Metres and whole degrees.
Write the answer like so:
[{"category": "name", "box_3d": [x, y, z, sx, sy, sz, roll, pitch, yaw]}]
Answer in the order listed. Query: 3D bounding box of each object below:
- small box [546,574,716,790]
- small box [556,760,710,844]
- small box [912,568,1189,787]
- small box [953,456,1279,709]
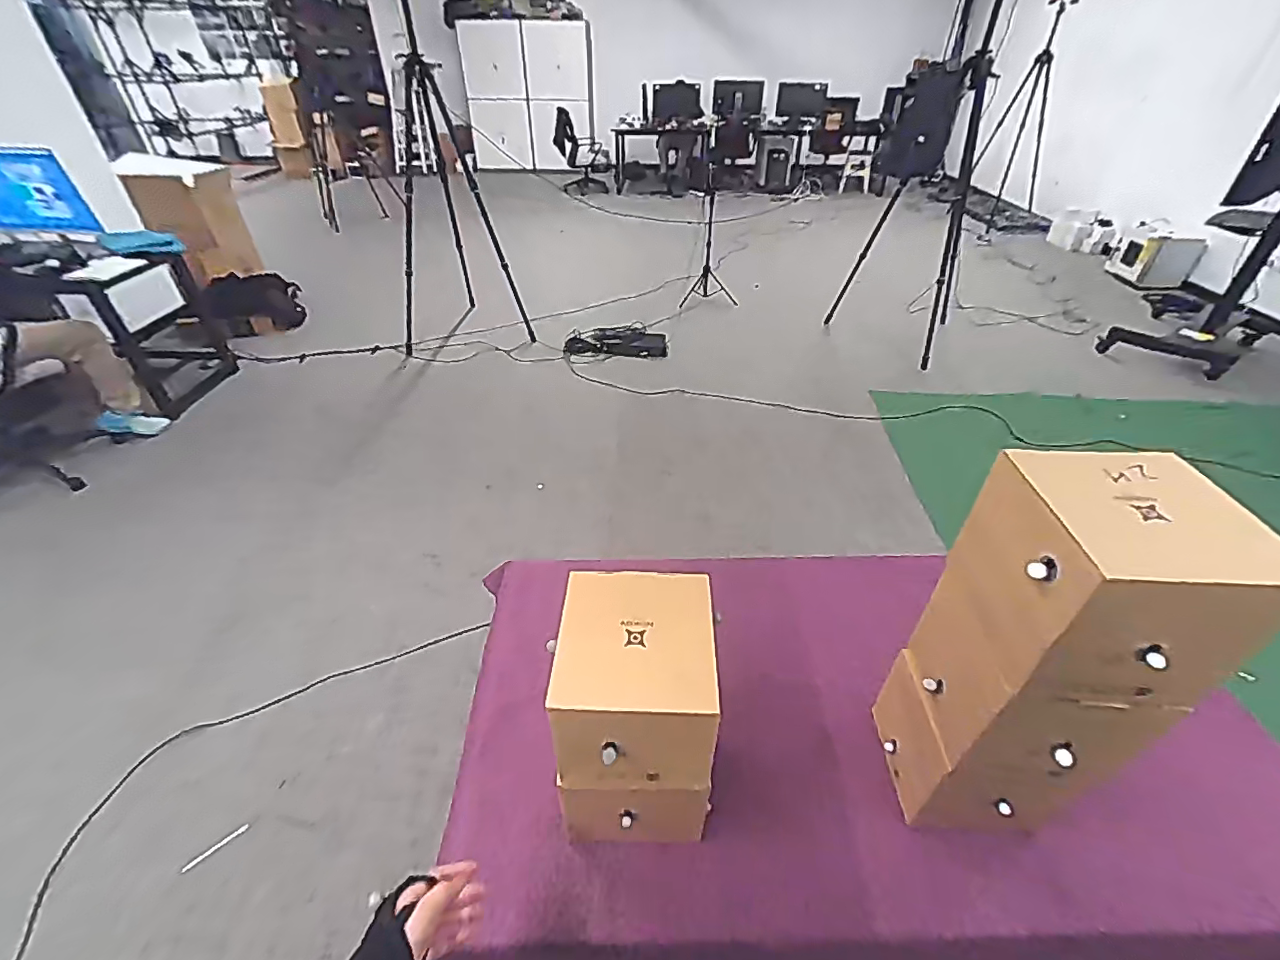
[{"category": "small box", "box_3d": [-0.003, 0.230, 0.619, 0.168, 0.176, 0.179, 1, 37, 2]}, {"category": "small box", "box_3d": [-0.006, 0.359, 0.717, 0.179, 0.176, 0.168, 0, 38, 1]}, {"category": "small box", "box_3d": [0.441, 0.226, 0.622, 0.168, 0.176, 0.179, 4, 39, 5]}, {"category": "small box", "box_3d": [0.438, 0.096, 0.519, 0.168, 0.176, 0.179, 3, 38, 4]}]
